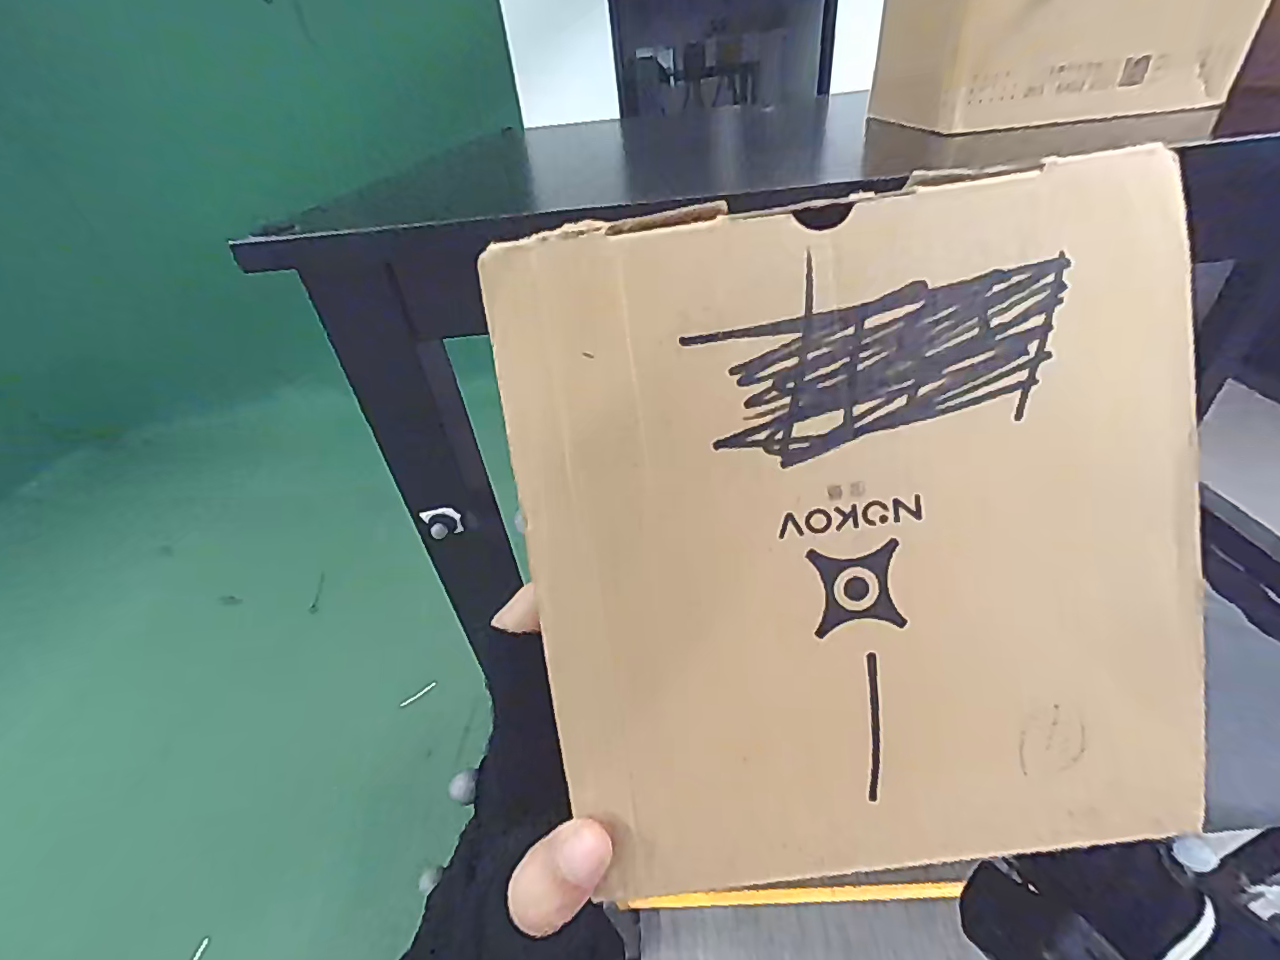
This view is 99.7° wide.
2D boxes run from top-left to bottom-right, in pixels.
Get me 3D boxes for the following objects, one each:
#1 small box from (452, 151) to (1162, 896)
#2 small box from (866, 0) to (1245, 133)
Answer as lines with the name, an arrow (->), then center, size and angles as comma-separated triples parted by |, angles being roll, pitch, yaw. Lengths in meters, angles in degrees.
small box -> 0.046, 0.010, 0.216 | 0.168, 0.179, 0.176 | -8, 6, 2
small box -> 0.264, -0.339, 0.356 | 0.168, 0.176, 0.179 | -3, 37, 5
